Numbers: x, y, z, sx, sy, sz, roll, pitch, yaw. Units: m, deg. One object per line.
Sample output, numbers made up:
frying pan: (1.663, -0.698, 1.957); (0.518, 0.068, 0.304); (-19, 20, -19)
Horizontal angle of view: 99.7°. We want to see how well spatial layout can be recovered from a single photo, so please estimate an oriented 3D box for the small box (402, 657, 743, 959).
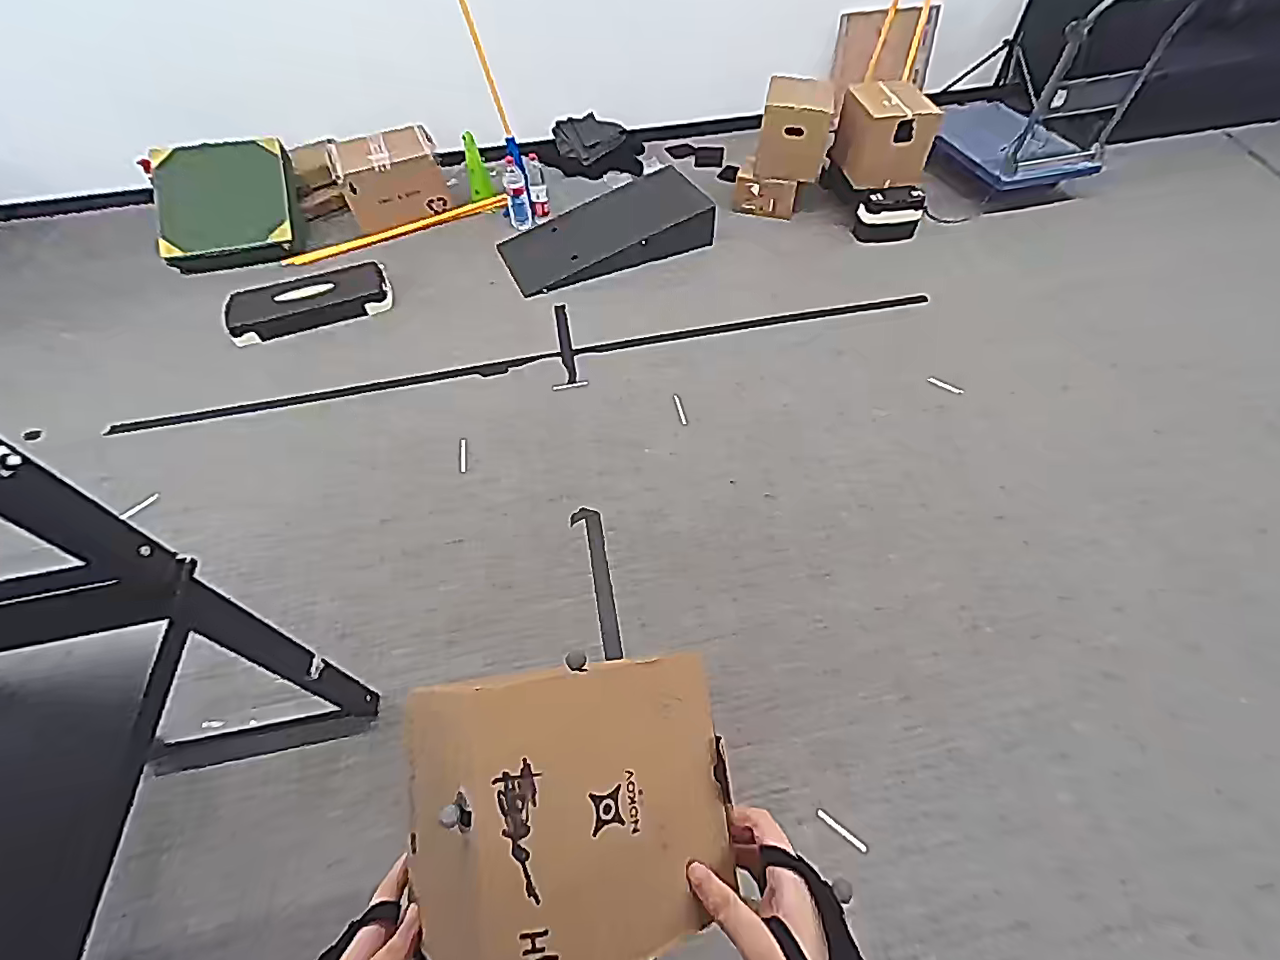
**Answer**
small box: (-0.056, 0.222, 0.388); (0.179, 0.176, 0.168); (6, 68, -35)
